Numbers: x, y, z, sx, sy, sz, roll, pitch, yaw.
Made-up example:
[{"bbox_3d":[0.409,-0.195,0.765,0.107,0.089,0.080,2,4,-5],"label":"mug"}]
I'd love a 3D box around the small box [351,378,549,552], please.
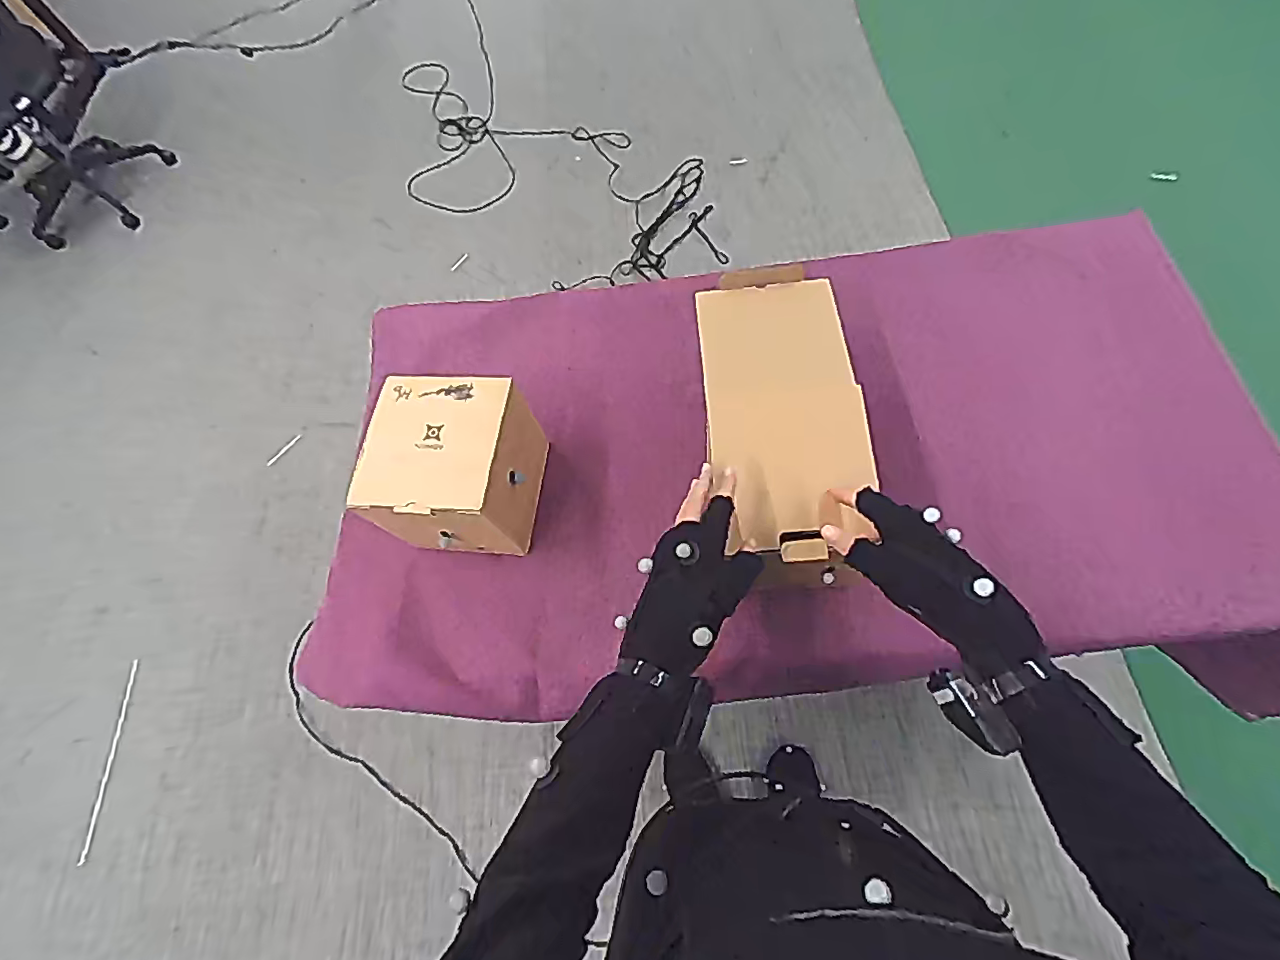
[{"bbox_3d":[-0.227,-0.013,0.700,0.168,0.176,0.179,3,67,9],"label":"small box"}]

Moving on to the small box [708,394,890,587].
[{"bbox_3d":[0.169,0.024,0.630,0.168,0.176,0.179,-4,65,6],"label":"small box"}]
